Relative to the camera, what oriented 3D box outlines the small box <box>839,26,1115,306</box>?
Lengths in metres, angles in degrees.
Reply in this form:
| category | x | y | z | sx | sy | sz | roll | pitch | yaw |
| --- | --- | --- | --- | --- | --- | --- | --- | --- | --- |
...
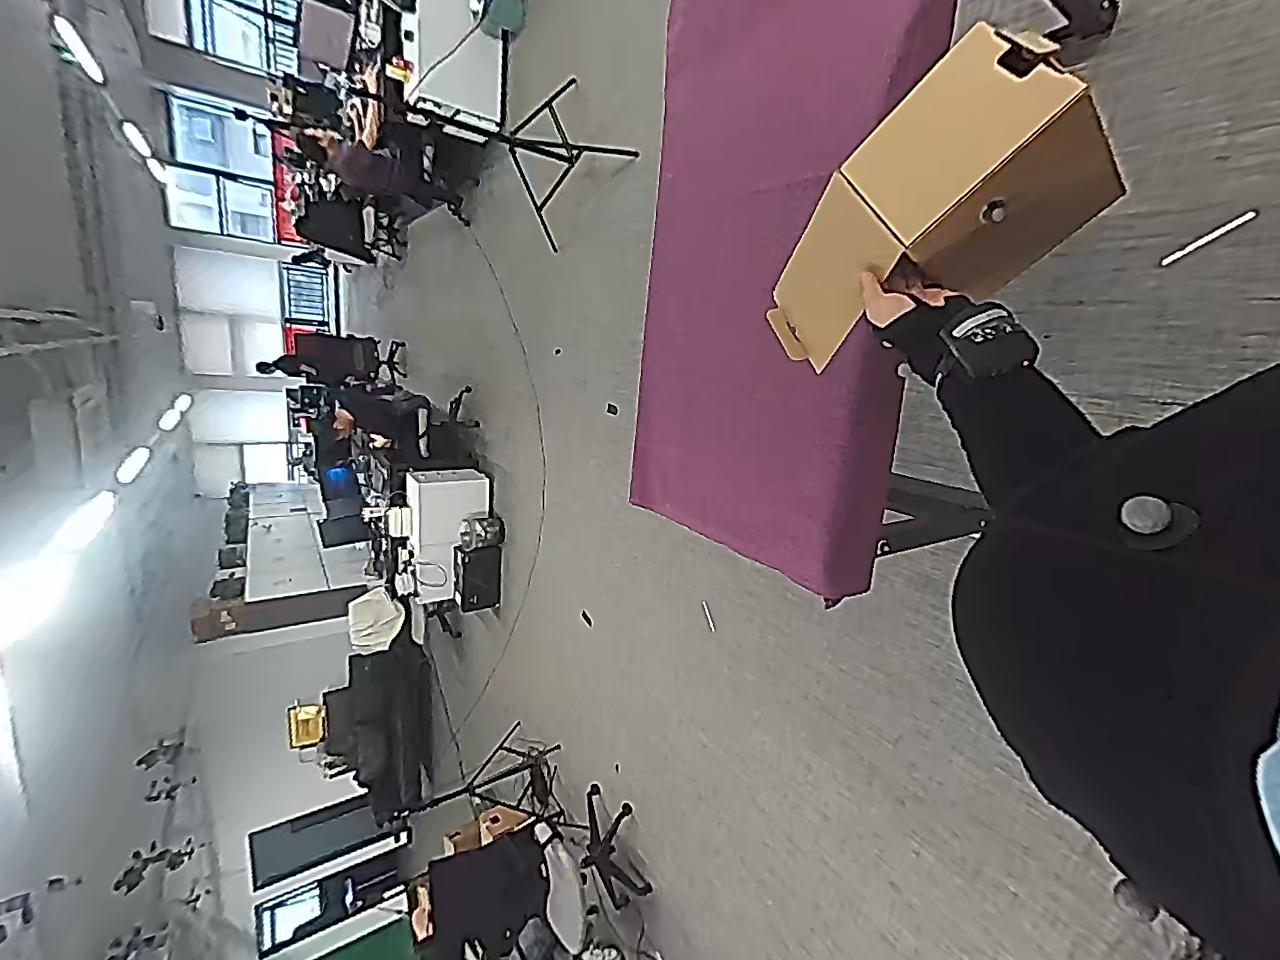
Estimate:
| category | x | y | z | sx | sy | sz | roll | pitch | yaw |
| --- | --- | --- | --- | --- | --- | --- | --- | --- | --- |
| small box | 0.365 | -0.328 | 0.597 | 0.179 | 0.176 | 0.168 | -42 | 48 | 34 |
